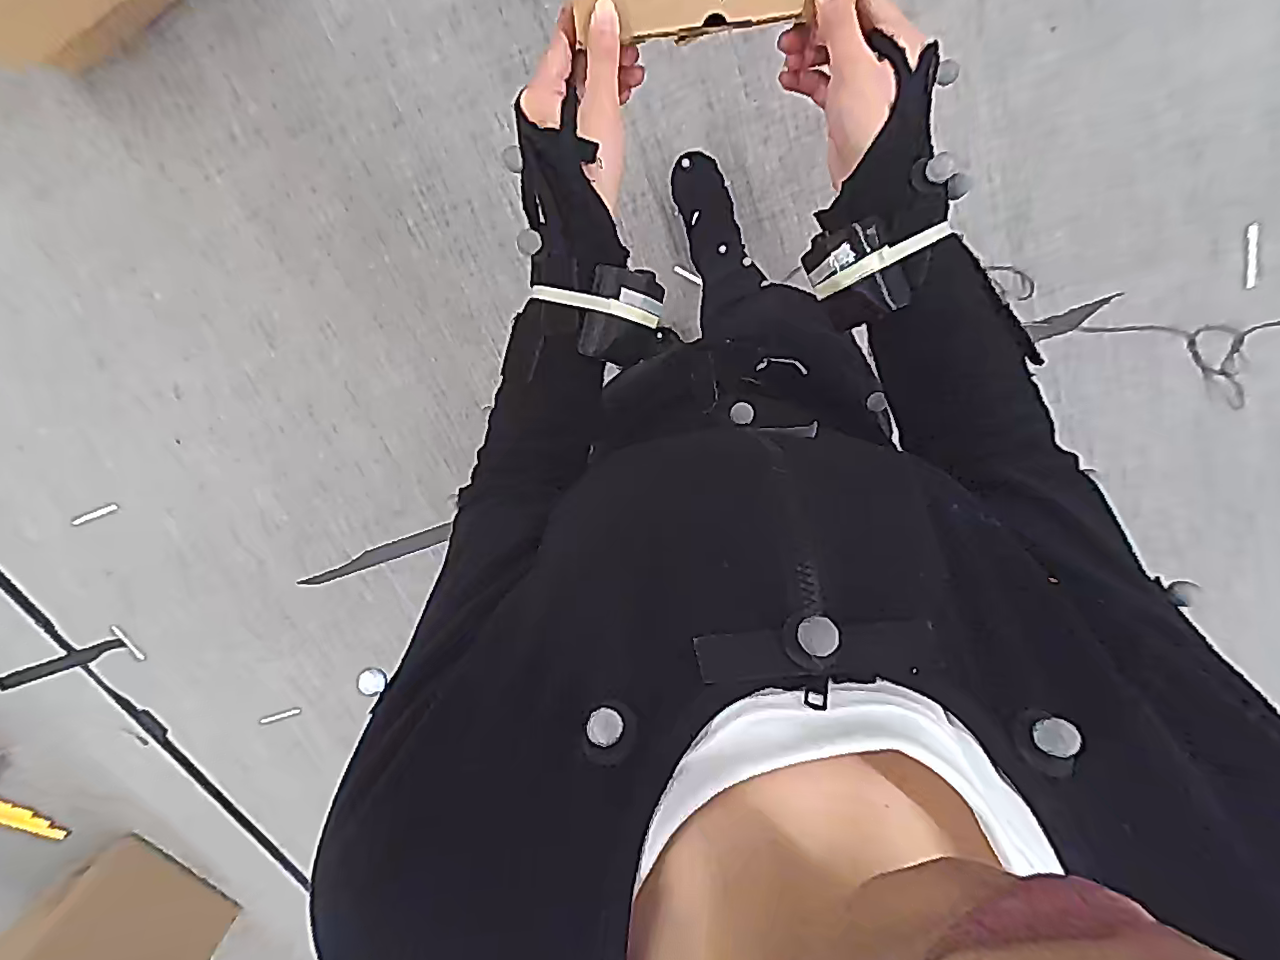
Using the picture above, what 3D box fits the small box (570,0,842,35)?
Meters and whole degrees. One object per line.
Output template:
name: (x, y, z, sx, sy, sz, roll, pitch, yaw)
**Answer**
small box: (0.033, -0.391, 0.327, 0.168, 0.176, 0.179, -5, 128, 2)
